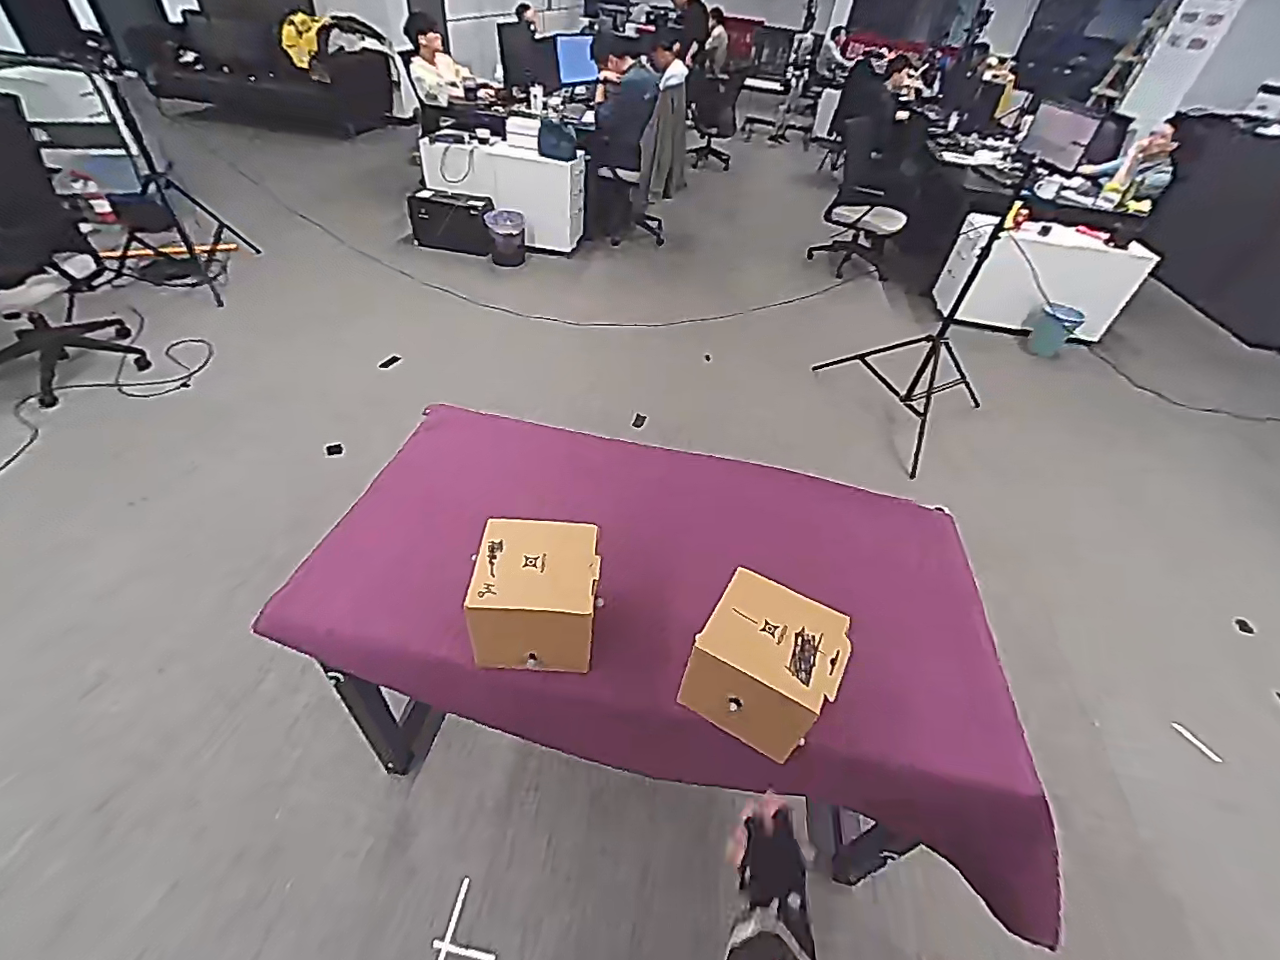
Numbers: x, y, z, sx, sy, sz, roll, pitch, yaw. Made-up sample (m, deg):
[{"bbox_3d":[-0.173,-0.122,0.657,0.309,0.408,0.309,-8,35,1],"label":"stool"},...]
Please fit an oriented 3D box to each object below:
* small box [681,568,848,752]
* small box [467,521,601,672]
[{"bbox_3d":[0.179,0.272,0.804,0.179,0.176,0.168,24,44,19],"label":"small box"},{"bbox_3d":[-0.159,0.187,0.851,0.179,0.176,0.168,5,42,-4],"label":"small box"}]
